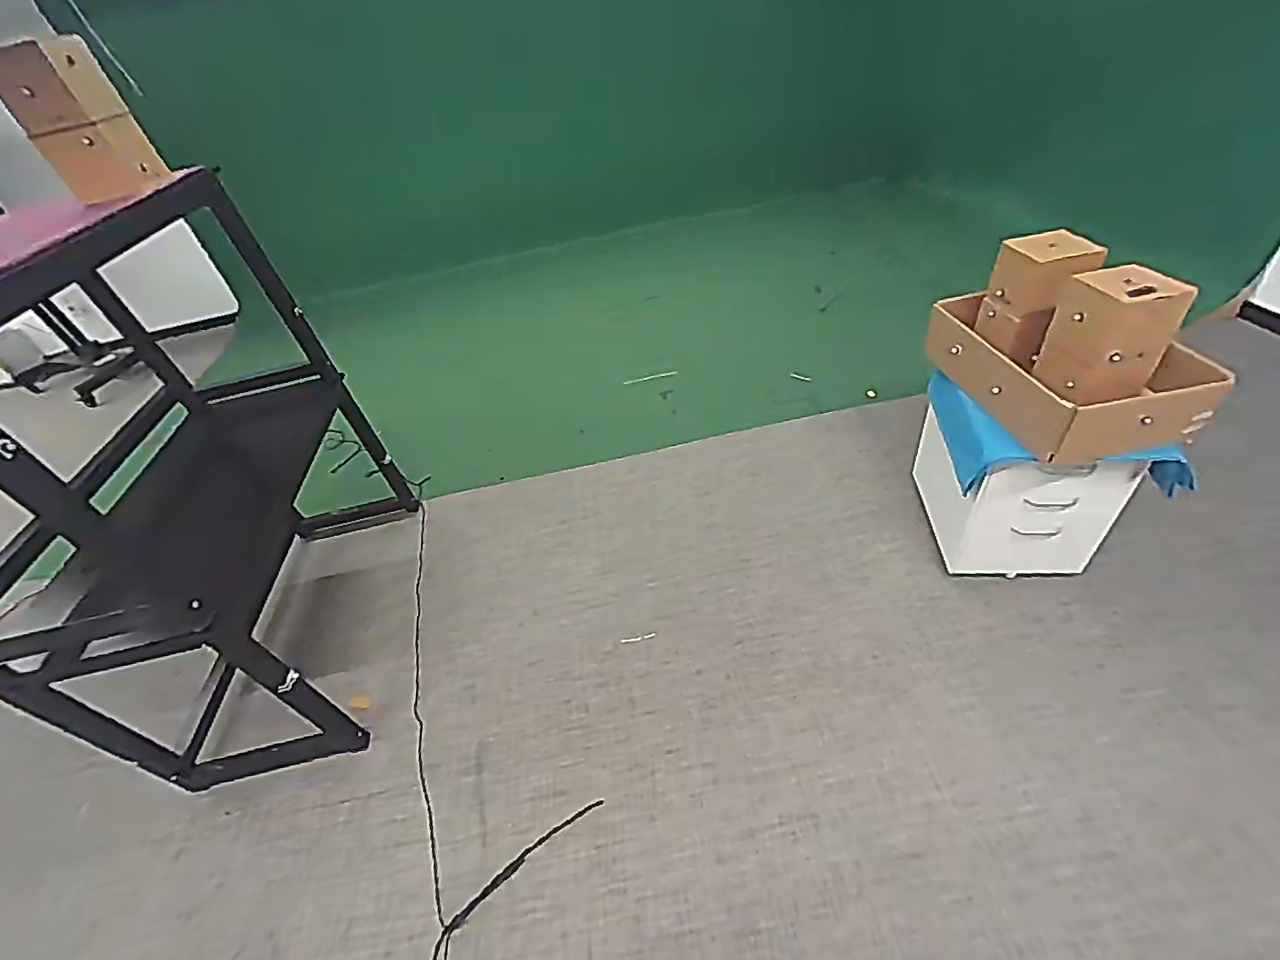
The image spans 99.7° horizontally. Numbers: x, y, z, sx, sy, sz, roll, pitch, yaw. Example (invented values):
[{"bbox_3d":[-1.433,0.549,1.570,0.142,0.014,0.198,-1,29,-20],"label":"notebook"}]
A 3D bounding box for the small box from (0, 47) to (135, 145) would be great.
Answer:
[{"bbox_3d":[-1.452,-0.965,1.365,0.168,0.176,0.179,-12,42,-1],"label":"small box"}]

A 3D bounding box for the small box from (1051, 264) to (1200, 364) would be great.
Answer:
[{"bbox_3d":[1.144,-0.391,1.292,0.168,0.176,0.179,-11,40,-1],"label":"small box"}]

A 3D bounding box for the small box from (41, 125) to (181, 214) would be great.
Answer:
[{"bbox_3d":[-1.433,-0.847,1.480,0.179,0.176,0.168,-12,42,0],"label":"small box"}]

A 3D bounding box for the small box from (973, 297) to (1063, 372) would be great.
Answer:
[{"bbox_3d":[1.133,-0.442,1.600,0.179,0.176,0.168,-10,42,0],"label":"small box"}]

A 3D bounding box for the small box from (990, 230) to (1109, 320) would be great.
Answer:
[{"bbox_3d":[1.116,-0.563,1.492,0.179,0.176,0.168,-11,42,0],"label":"small box"}]
